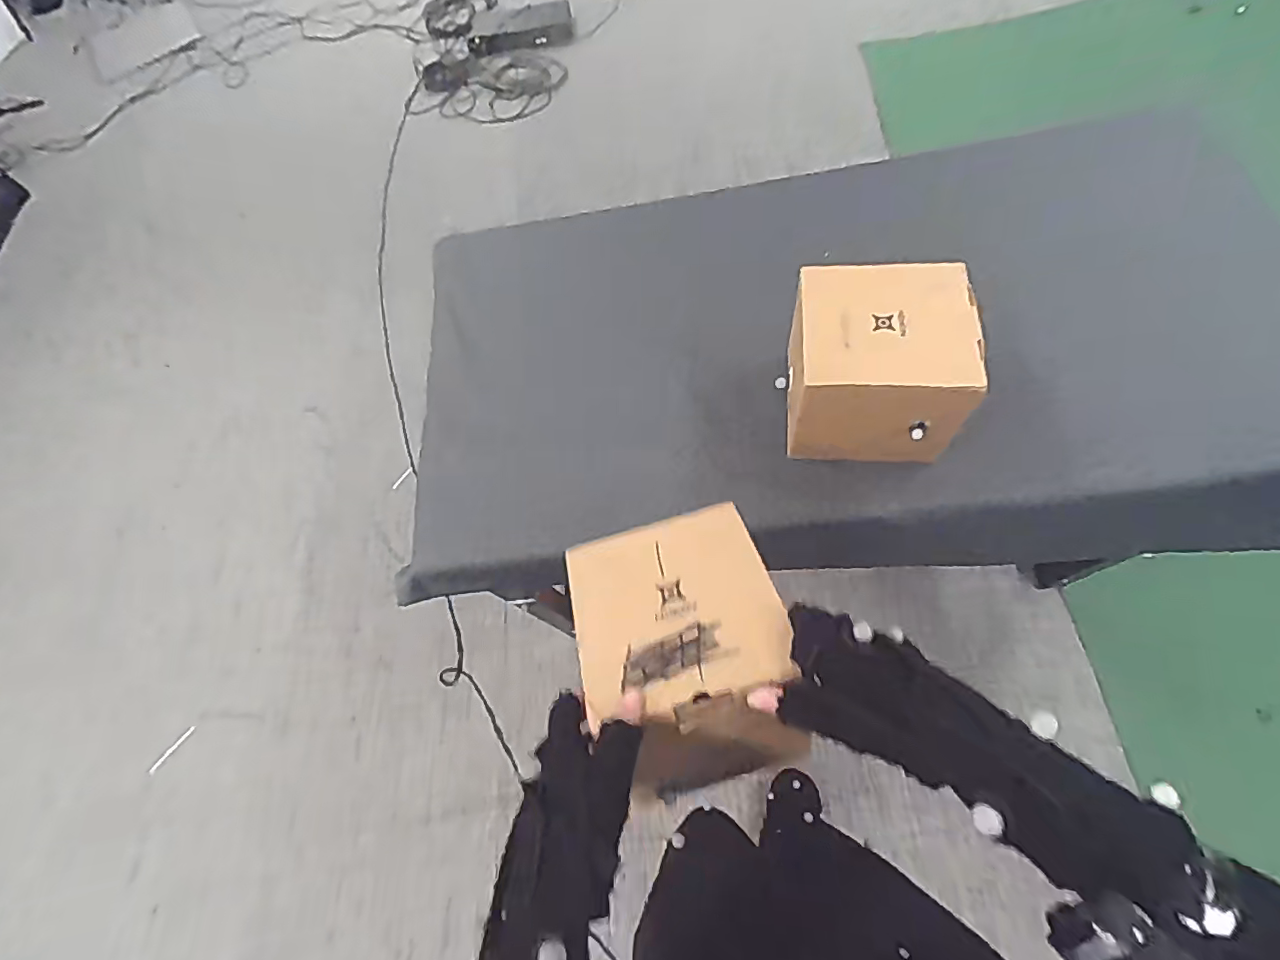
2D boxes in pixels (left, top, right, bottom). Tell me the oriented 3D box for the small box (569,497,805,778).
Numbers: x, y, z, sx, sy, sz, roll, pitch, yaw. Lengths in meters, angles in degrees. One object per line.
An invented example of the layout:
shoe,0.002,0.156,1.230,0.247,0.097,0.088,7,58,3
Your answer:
small box,0.042,0.150,0.499,0.168,0.176,0.179,-15,43,-1

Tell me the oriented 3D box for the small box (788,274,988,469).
small box,0.277,-0.122,0.648,0.179,0.176,0.168,2,65,11
